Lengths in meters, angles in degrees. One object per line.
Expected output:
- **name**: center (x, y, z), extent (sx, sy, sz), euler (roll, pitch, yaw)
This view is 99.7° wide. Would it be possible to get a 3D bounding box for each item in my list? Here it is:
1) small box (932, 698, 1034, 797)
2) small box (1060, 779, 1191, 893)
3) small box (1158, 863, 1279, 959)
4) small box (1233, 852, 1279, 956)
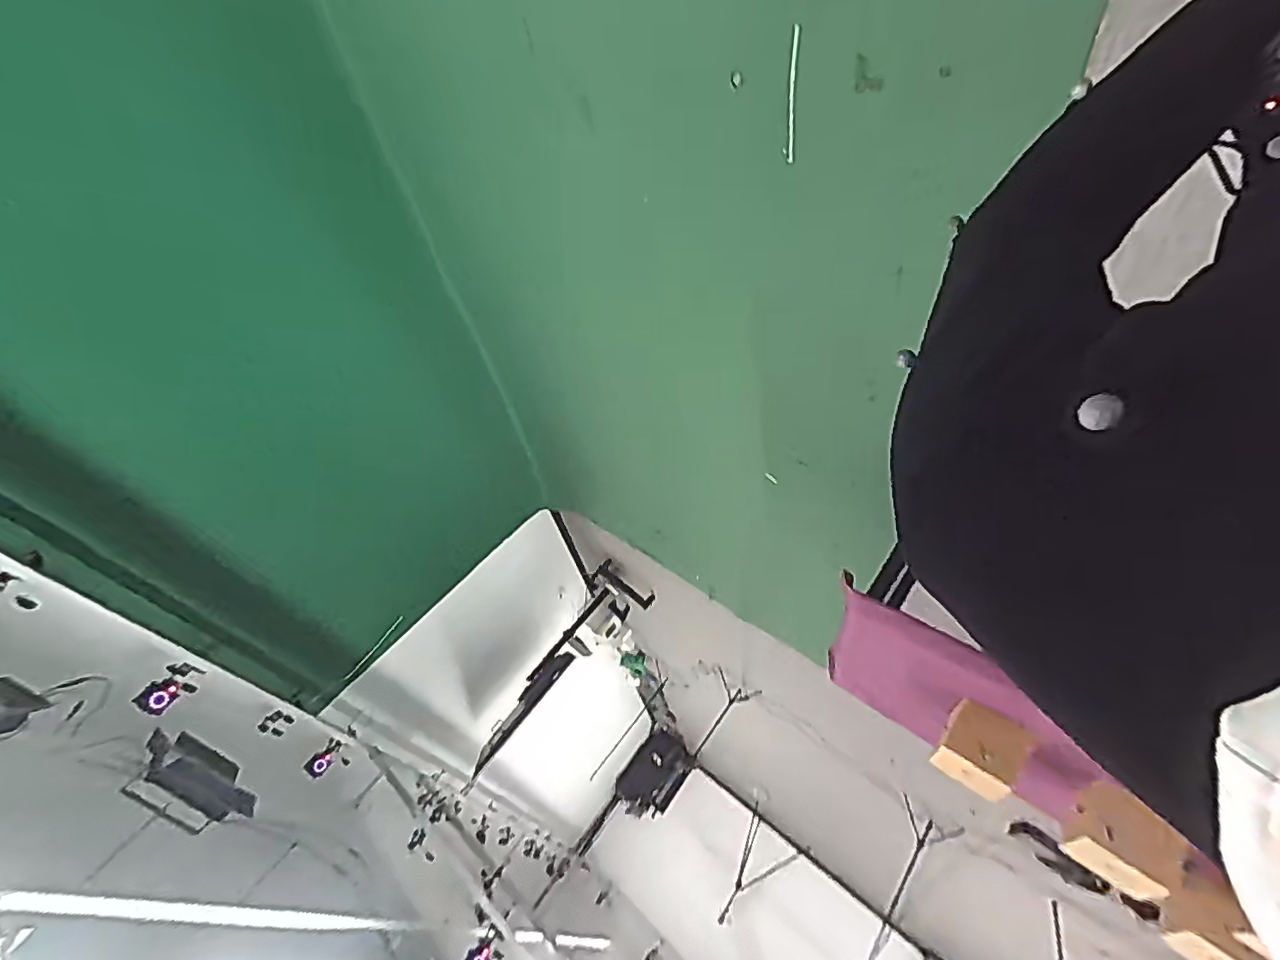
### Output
- **small box**: center (0.959, 0.741, 1.517), extent (0.179, 0.176, 0.168), euler (27, 150, 30)
- **small box**: center (1.207, 0.879, 1.349), extent (0.179, 0.176, 0.168), euler (28, 151, 31)
- **small box**: center (1.436, 1.084, 1.320), extent (0.179, 0.176, 0.168), euler (29, 151, 32)
- **small box**: center (1.386, 0.896, 1.103), extent (0.168, 0.176, 0.179), euler (26, 151, 33)
